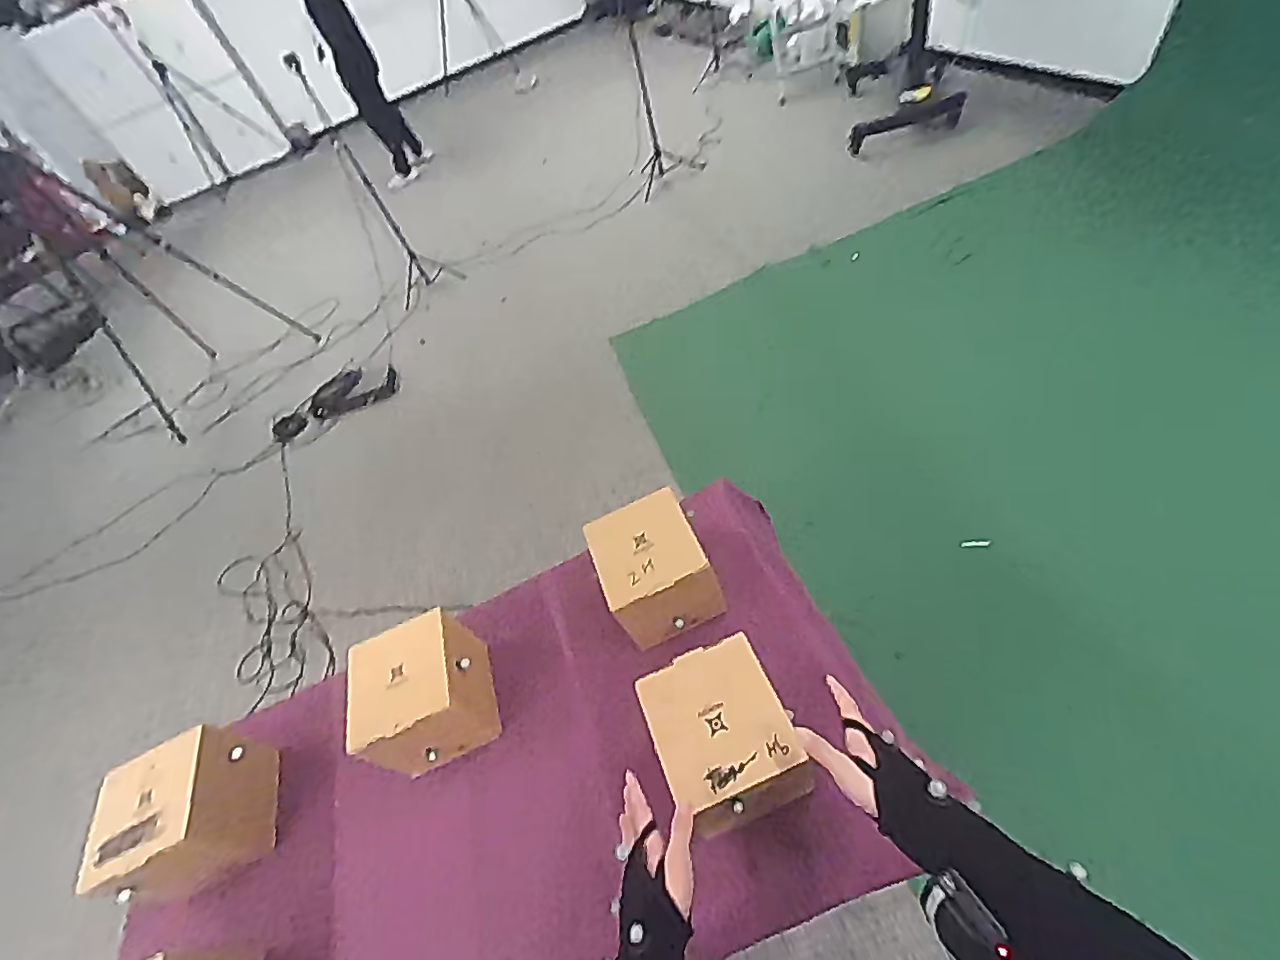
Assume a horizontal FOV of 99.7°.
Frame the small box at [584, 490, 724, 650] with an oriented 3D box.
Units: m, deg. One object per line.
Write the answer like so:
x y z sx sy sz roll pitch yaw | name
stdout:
0.026 0.155 0.917 0.168 0.176 0.179 -26 49 0 | small box

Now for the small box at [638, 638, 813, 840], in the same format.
0.117 0.351 0.730 0.168 0.176 0.179 -25 48 -1 | small box

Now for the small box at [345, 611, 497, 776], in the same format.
-0.354 0.353 0.889 0.168 0.176 0.179 -24 50 -2 | small box
